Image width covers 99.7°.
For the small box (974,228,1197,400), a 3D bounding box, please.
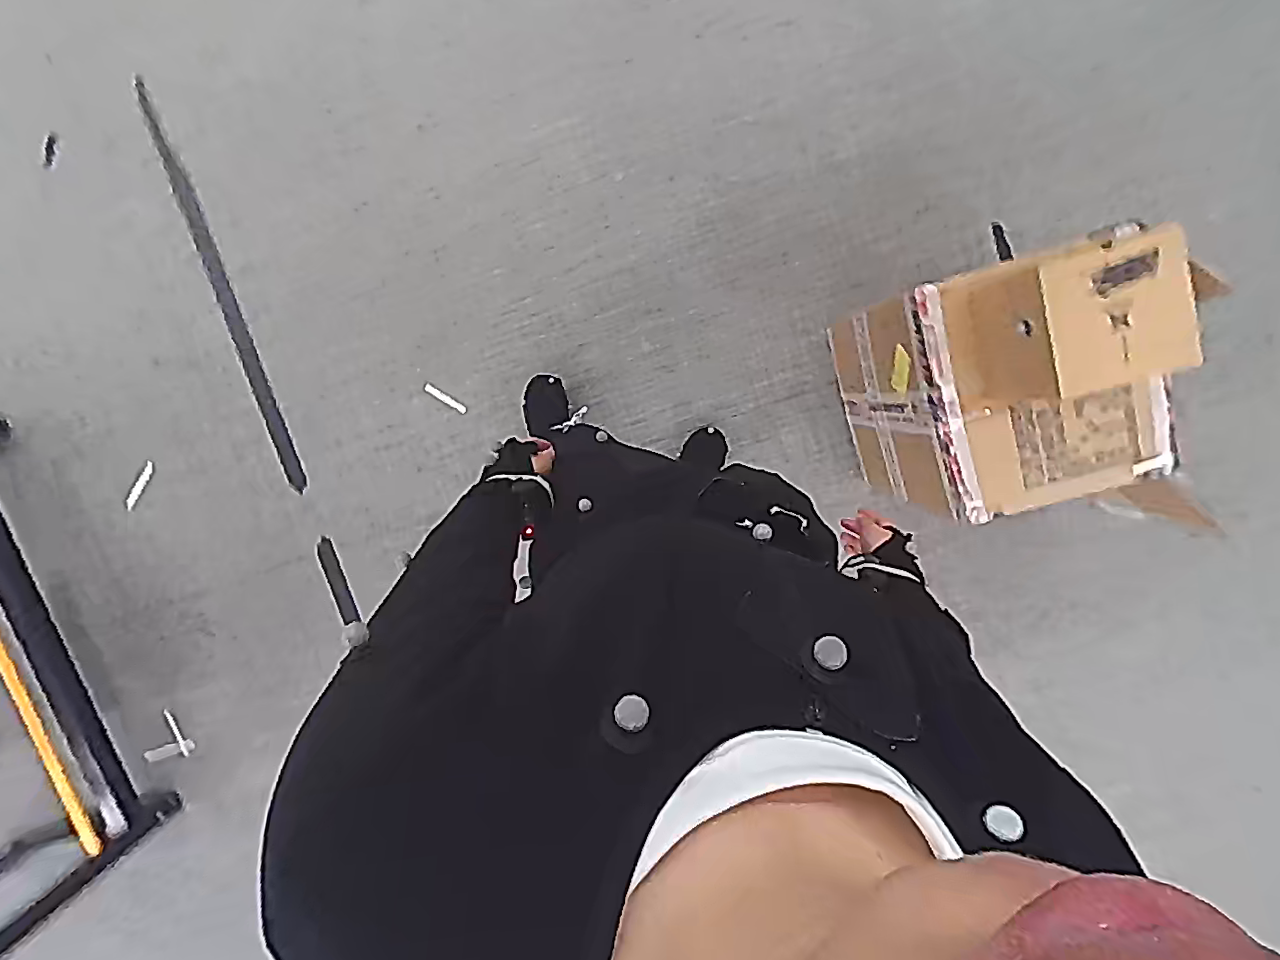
[{"bbox_3d":[0.594,-0.213,0.746,0.168,0.176,0.179,-14,97,7],"label":"small box"}]
